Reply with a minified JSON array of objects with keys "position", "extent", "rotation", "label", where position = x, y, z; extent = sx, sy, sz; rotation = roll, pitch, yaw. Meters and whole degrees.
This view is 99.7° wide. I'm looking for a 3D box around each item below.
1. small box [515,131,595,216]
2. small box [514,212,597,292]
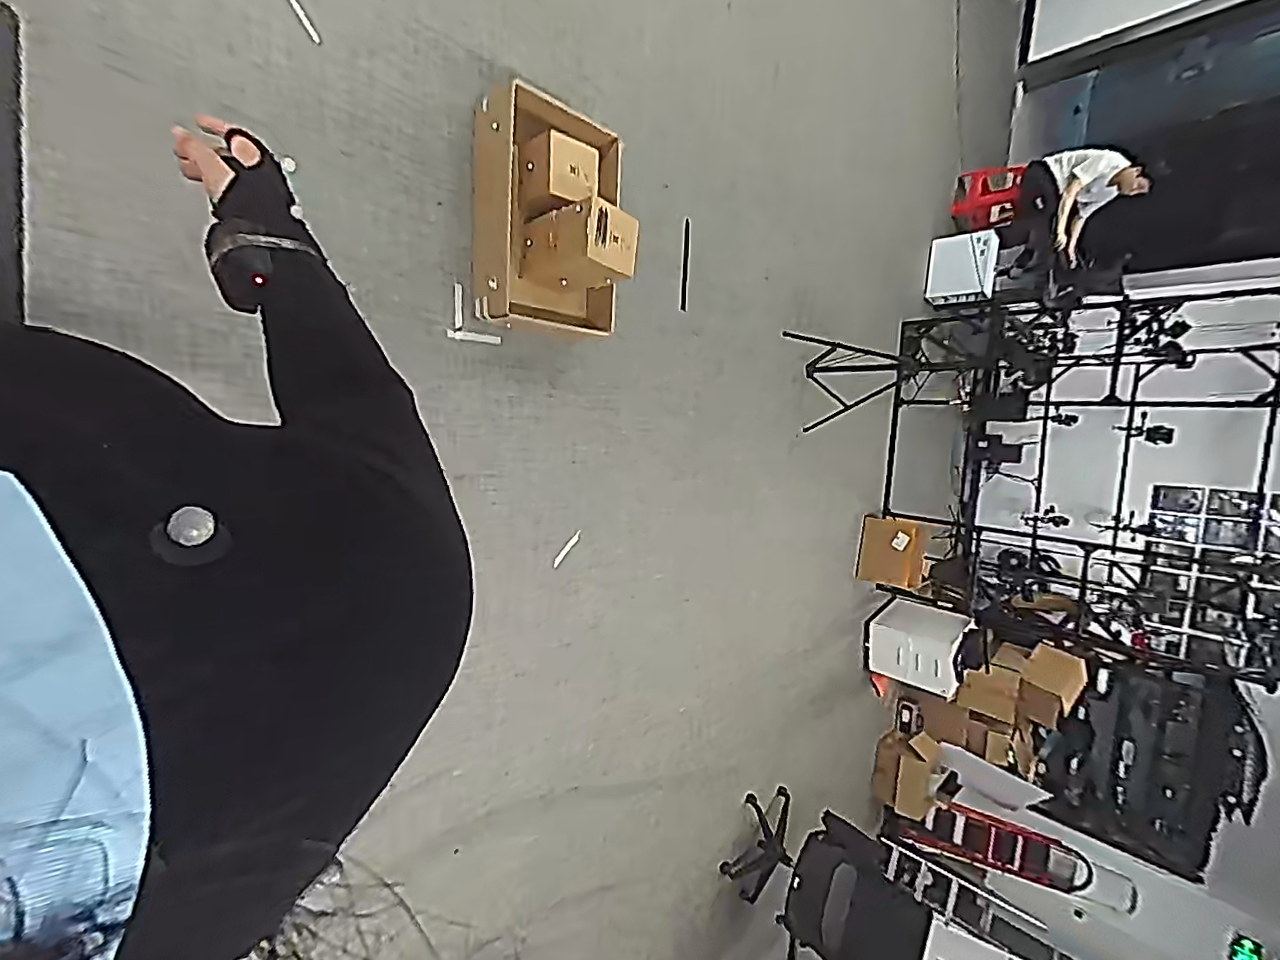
[{"position":[-0.255,-0.894,1.604],"extent":[0.179,0.176,0.168],"rotation":[-6,103,-45],"label":"small box"},{"position":[-0.257,-0.681,1.642],"extent":[0.179,0.176,0.168],"rotation":[4,92,-45],"label":"small box"}]
